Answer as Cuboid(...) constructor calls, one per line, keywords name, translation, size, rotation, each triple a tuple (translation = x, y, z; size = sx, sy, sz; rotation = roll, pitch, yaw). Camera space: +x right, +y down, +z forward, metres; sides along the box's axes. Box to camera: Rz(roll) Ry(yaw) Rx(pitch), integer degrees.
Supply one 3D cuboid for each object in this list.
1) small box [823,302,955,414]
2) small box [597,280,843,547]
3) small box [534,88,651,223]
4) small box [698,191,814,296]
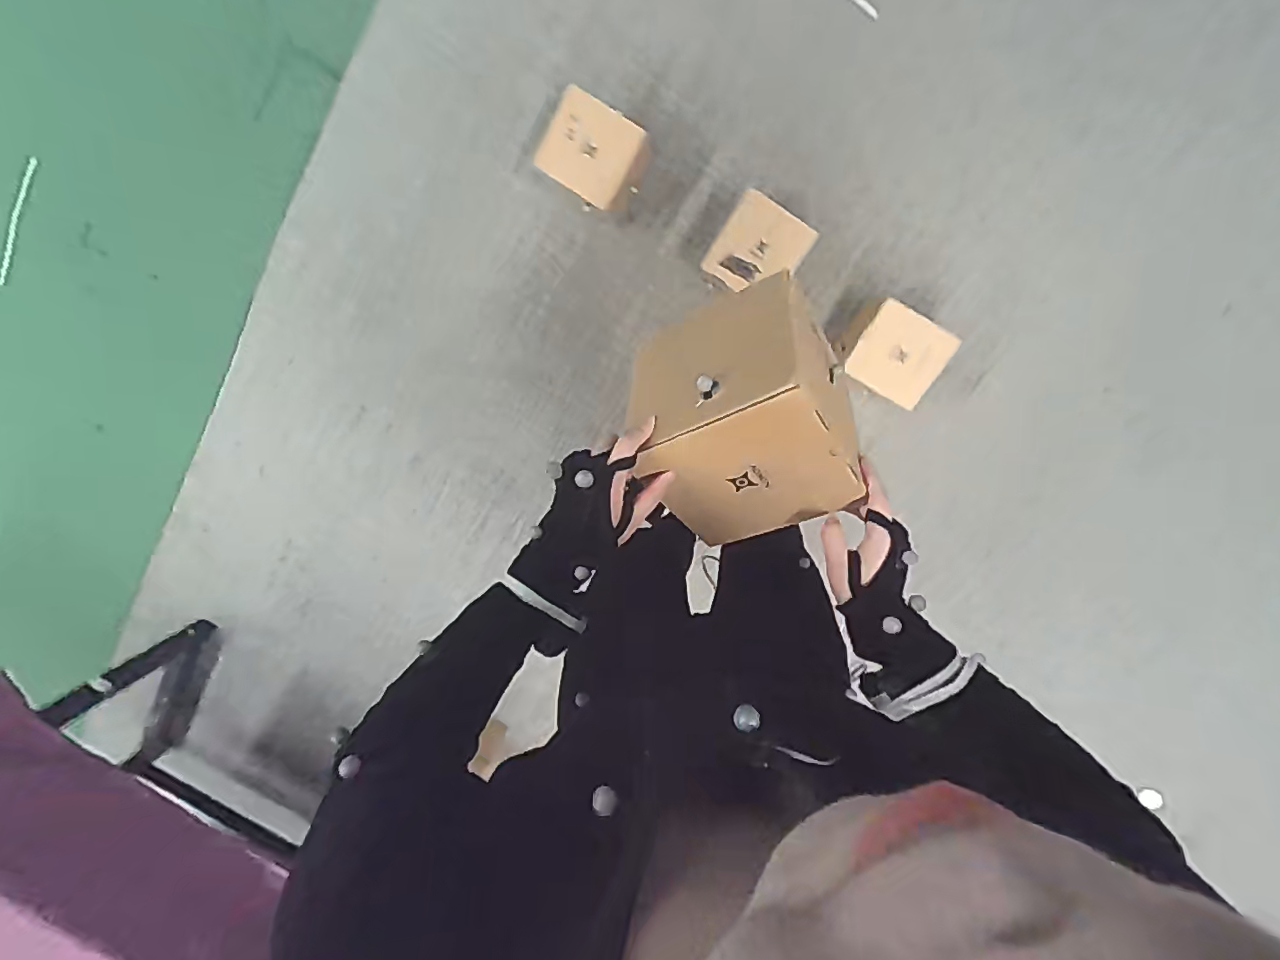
Cuboid(name="small box", translation=(0.528, -0.266, 1.180), size=(0.179, 0.176, 0.168), rotation=(31, 107, -2))
Cuboid(name="small box", translation=(0.083, -0.062, 0.550), size=(0.179, 0.176, 0.168), rotation=(-23, 132, 30))
Cuboid(name="small box", translation=(-0.091, -0.674, 1.153), size=(0.179, 0.176, 0.168), rotation=(33, 105, -2))
Cuboid(name="small box", translation=(0.243, -0.474, 1.162), size=(0.168, 0.176, 0.179), rotation=(34, 105, -2))
